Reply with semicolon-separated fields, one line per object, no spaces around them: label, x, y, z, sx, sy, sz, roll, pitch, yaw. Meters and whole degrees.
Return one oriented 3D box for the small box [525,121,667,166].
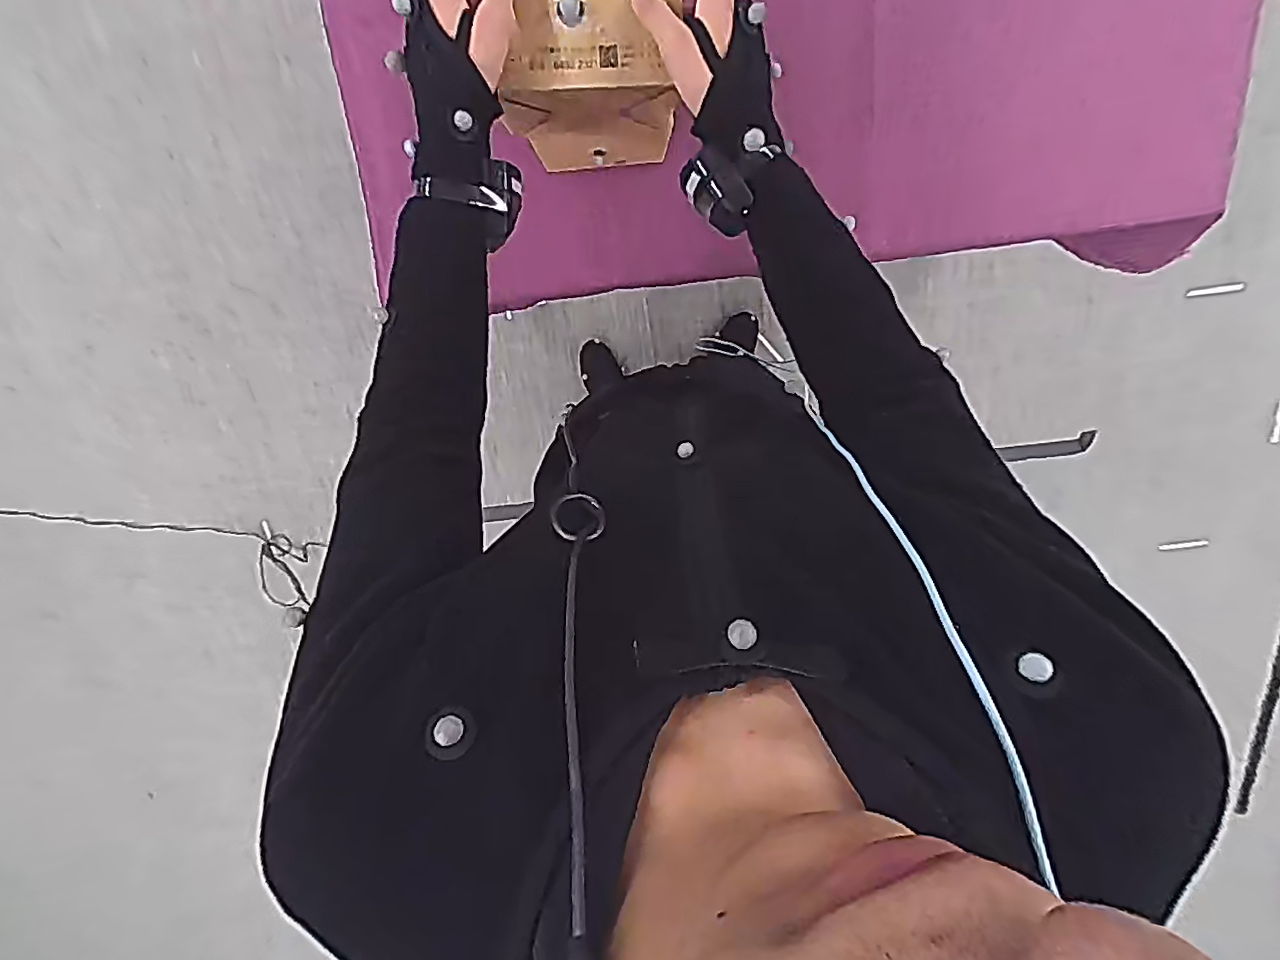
small box;-0.056;-0.495;0.654;0.168;0.176;0.179;-5;107;-1

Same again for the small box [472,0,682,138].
small box;-0.054;-0.419;0.481;0.168;0.179;0.176;-4;111;-2
